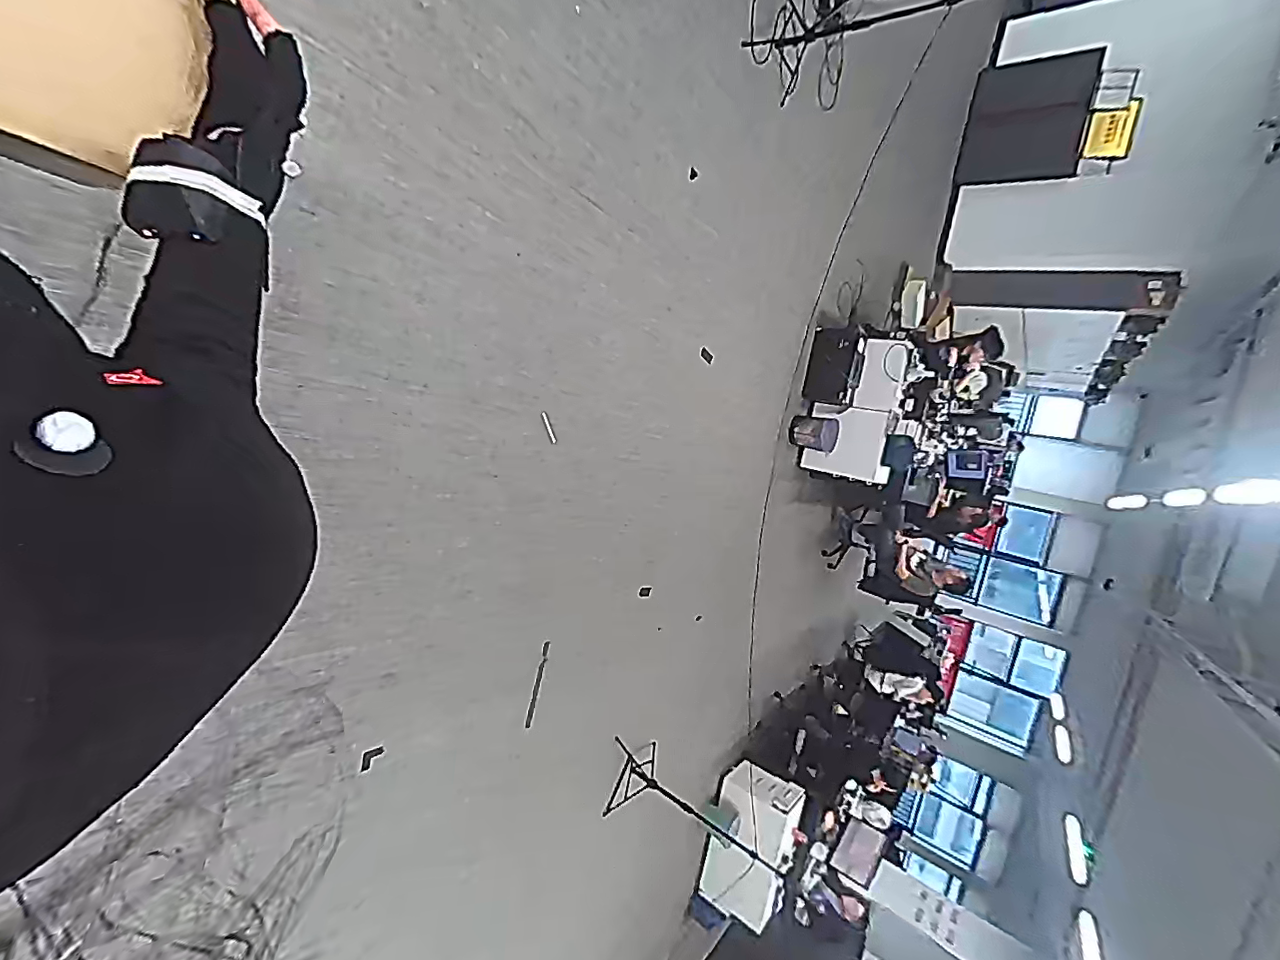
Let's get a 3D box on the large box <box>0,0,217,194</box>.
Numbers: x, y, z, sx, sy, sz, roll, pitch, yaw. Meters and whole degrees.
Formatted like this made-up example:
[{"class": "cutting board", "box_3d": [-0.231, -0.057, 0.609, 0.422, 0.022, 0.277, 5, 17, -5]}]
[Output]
[{"class": "large box", "box_3d": [-0.566, -0.436, 0.341, 0.408, 0.320, 0.320, 4, 107, -59]}]
